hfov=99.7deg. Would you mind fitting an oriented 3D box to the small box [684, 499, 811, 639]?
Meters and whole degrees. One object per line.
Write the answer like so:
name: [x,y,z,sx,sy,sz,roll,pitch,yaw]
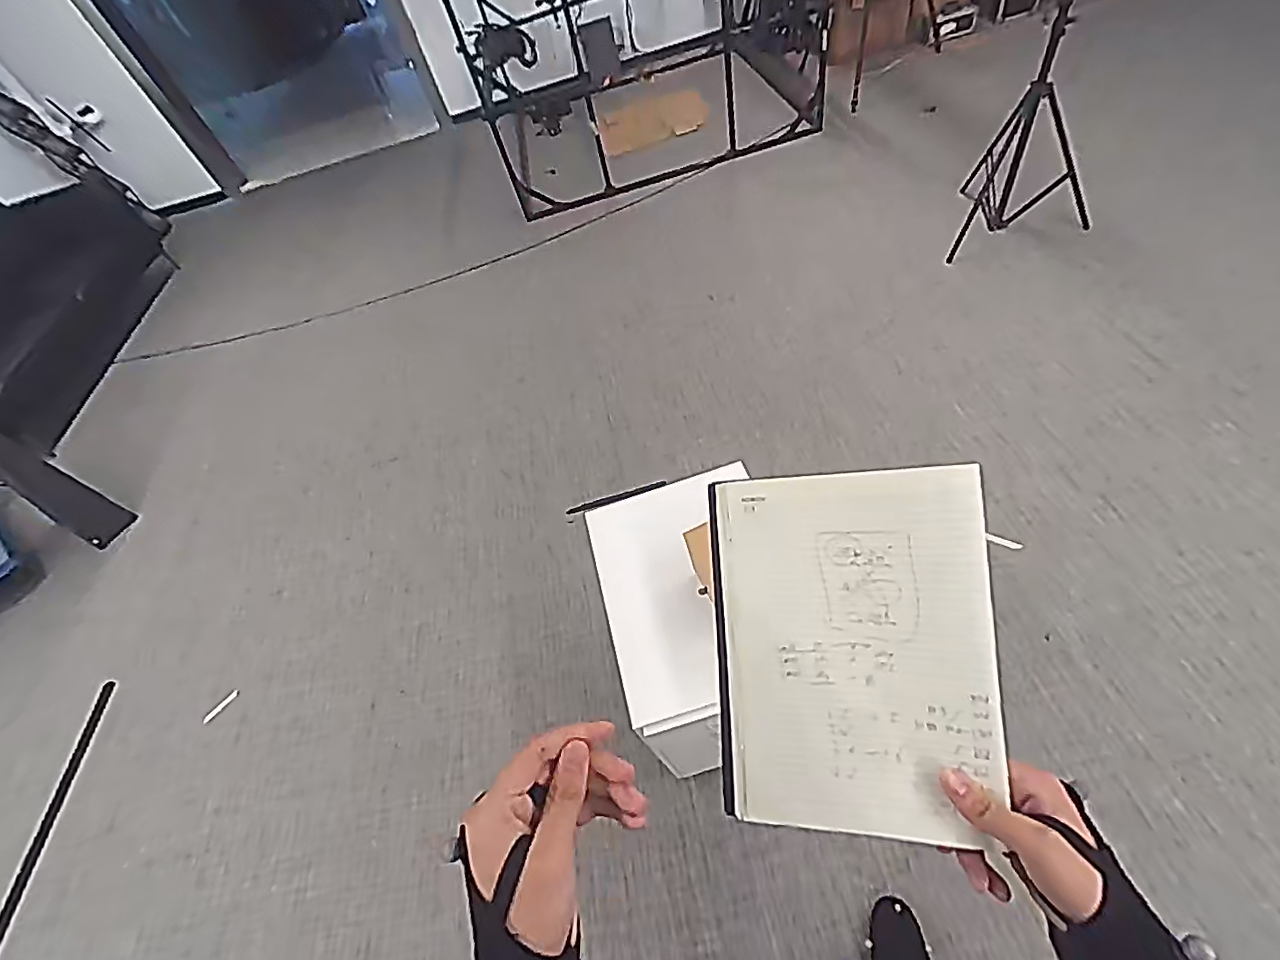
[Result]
small box: [0.205,0.173,1.036,0.179,0.176,0.168,-26,50,-4]
